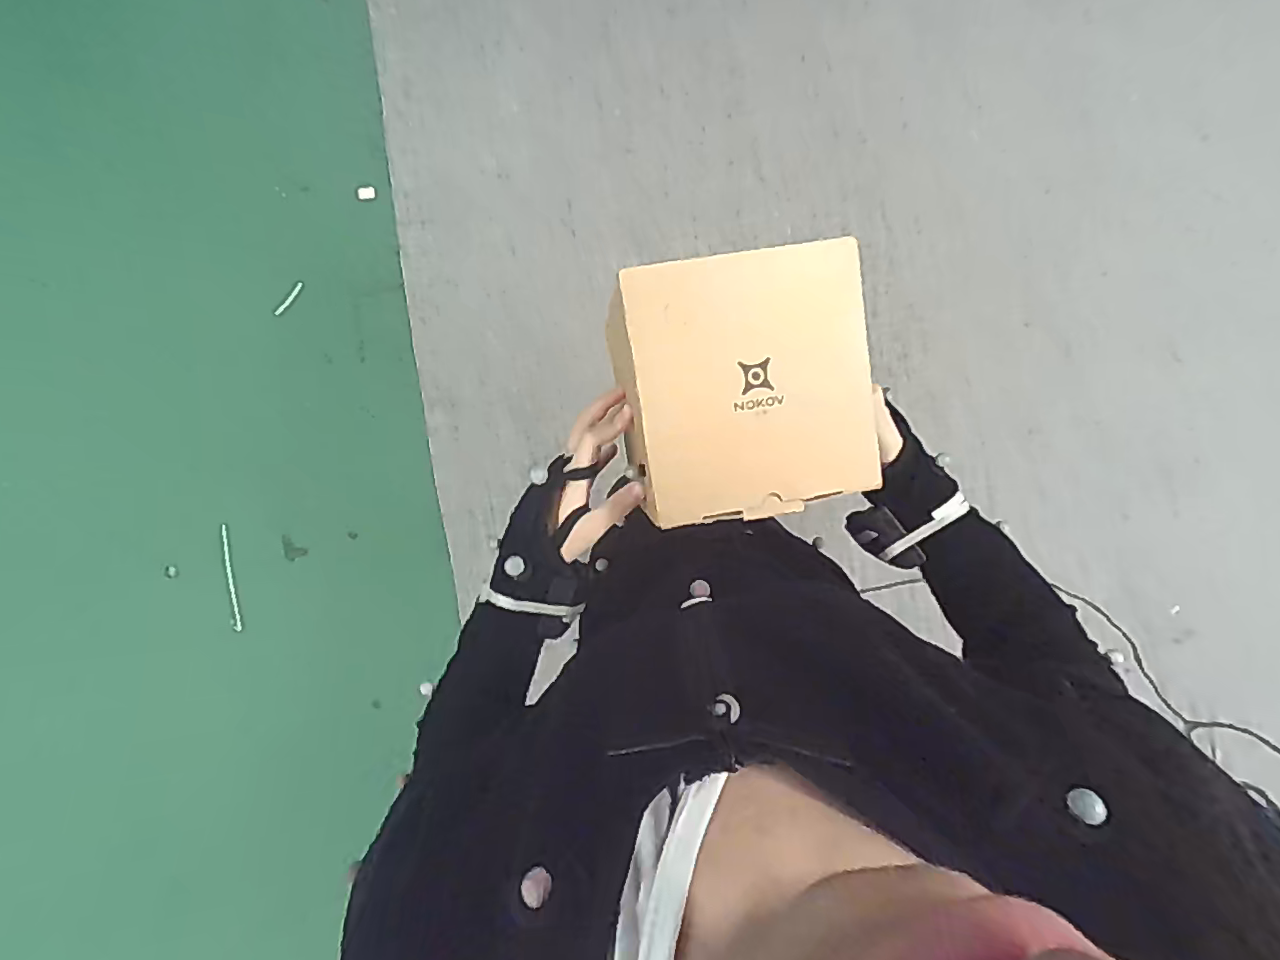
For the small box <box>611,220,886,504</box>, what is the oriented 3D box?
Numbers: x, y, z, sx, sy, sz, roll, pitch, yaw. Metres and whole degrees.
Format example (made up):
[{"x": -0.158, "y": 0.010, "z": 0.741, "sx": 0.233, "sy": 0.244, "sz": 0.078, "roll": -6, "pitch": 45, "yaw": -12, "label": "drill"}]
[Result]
[{"x": 0.074, "y": -0.088, "z": 0.452, "sx": 0.168, "sy": 0.176, "sz": 0.179, "roll": -11, "pitch": 97, "yaw": -6, "label": "small box"}]
